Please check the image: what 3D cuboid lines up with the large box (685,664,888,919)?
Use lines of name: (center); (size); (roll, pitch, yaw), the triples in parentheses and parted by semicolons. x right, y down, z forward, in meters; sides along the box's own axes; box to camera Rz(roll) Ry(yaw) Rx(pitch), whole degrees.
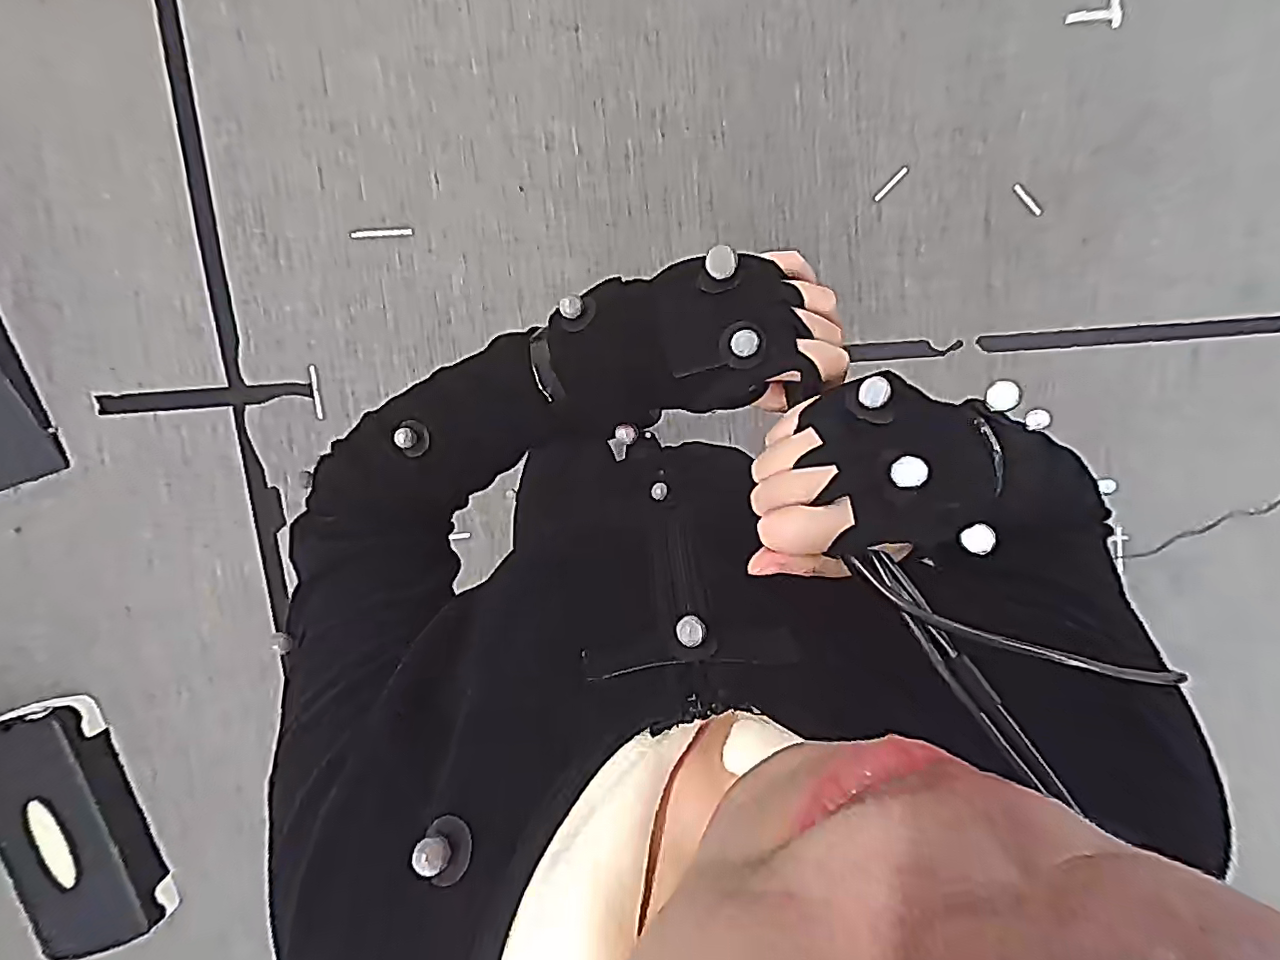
large box: (0.314, 0.698, 1.262); (0.320, 0.320, 0.408); (12, 96, -5)
